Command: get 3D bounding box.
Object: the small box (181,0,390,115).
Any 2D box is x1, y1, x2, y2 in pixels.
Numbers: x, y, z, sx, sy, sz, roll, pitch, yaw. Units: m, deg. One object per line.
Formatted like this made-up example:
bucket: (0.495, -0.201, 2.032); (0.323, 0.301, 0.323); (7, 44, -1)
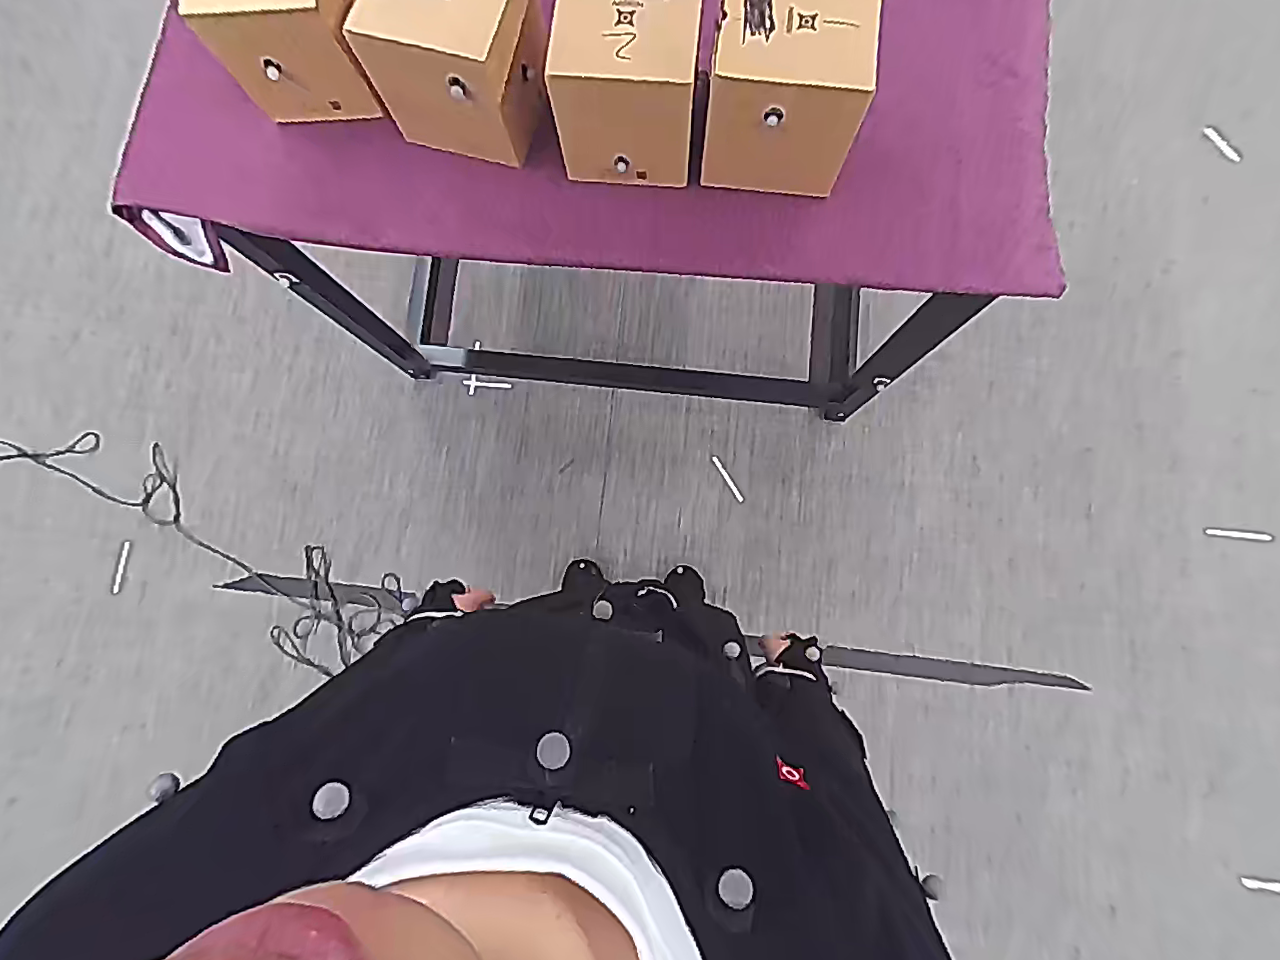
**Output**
small box: (-0.451, -0.617, 0.715); (0.168, 0.176, 0.179); (-2, 82, 2)
